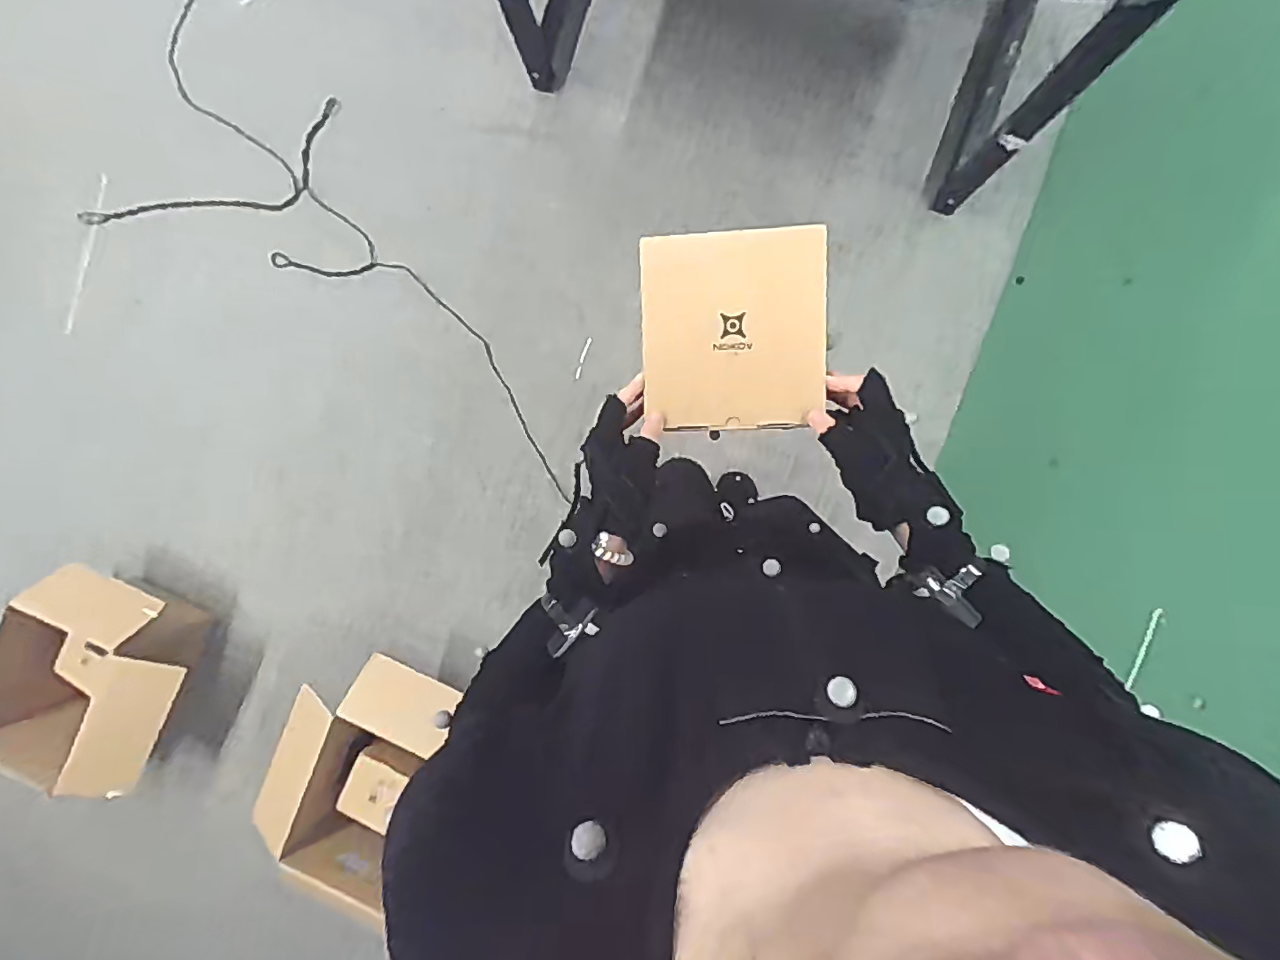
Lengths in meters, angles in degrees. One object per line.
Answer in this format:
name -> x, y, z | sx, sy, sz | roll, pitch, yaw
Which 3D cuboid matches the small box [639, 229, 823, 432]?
small box -> 0.088, -0.140, 0.565 | 0.168, 0.176, 0.179 | -1, 96, 6
